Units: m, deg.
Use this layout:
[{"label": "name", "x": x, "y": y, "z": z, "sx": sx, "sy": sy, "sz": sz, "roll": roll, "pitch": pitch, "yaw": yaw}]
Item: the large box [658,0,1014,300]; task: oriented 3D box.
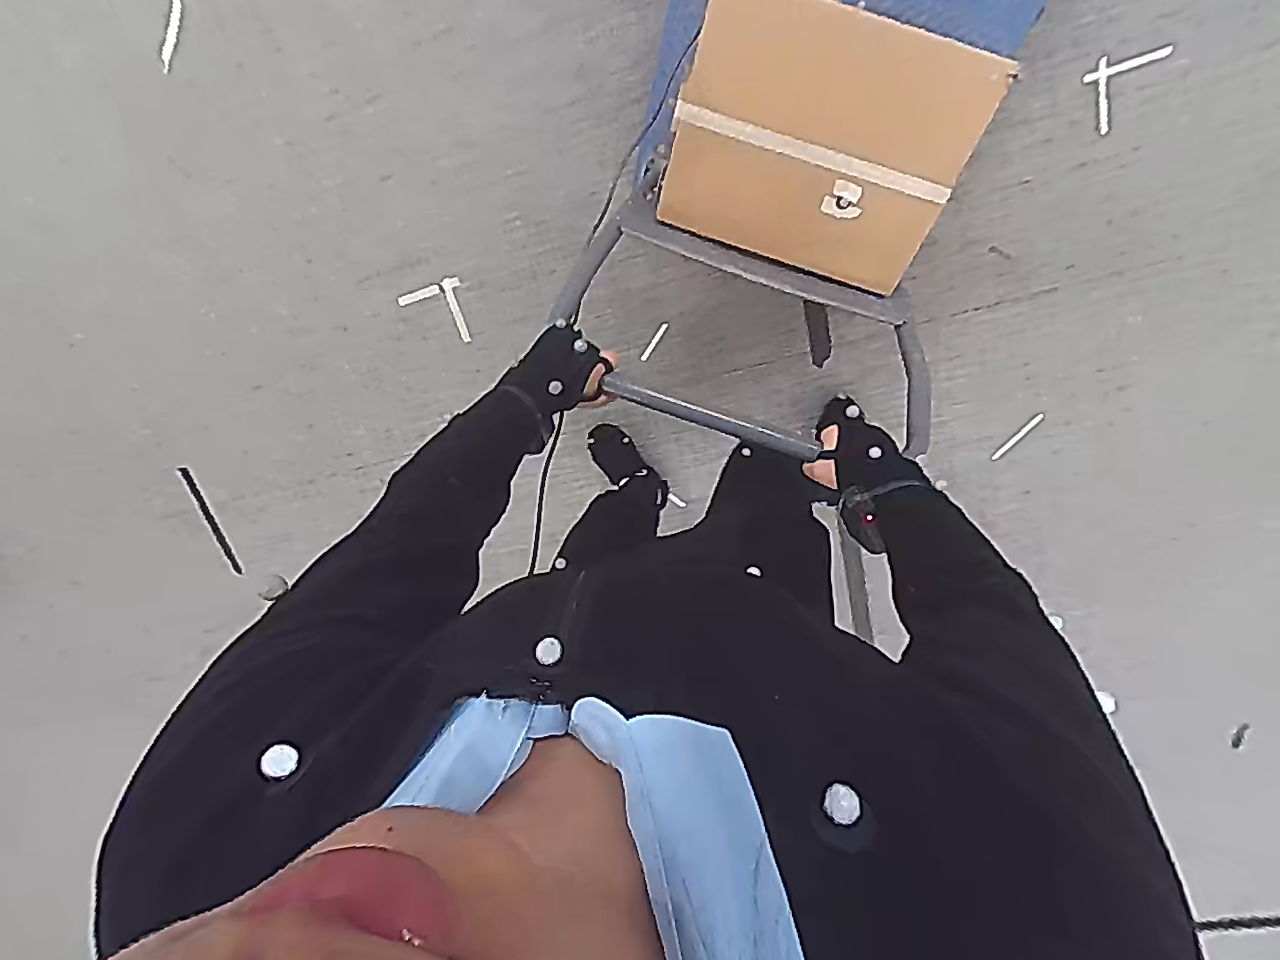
[{"label": "large box", "x": 0.278, "y": -0.553, "z": 0.892, "sx": 0.408, "sy": 0.320, "sz": 0.320, "roll": 19, "pitch": 132, "yaw": -1}]
